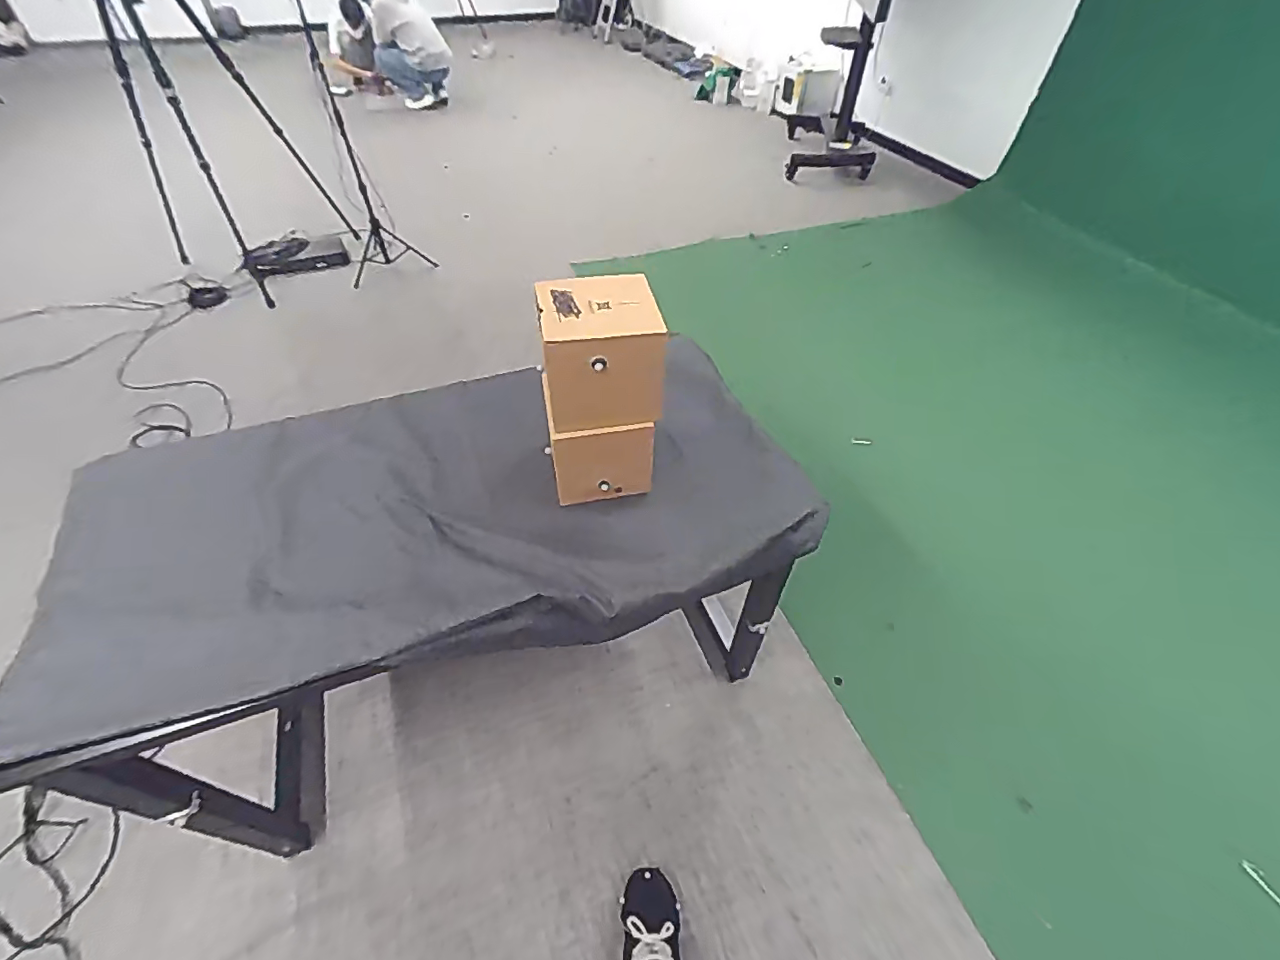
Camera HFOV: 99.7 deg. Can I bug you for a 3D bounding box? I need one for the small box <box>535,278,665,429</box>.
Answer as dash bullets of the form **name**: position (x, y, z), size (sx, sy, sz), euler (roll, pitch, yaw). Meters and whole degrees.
- **small box**: position (-0.063, -0.196, 0.854), size (0.179, 0.176, 0.168), euler (-8, 50, -8)
